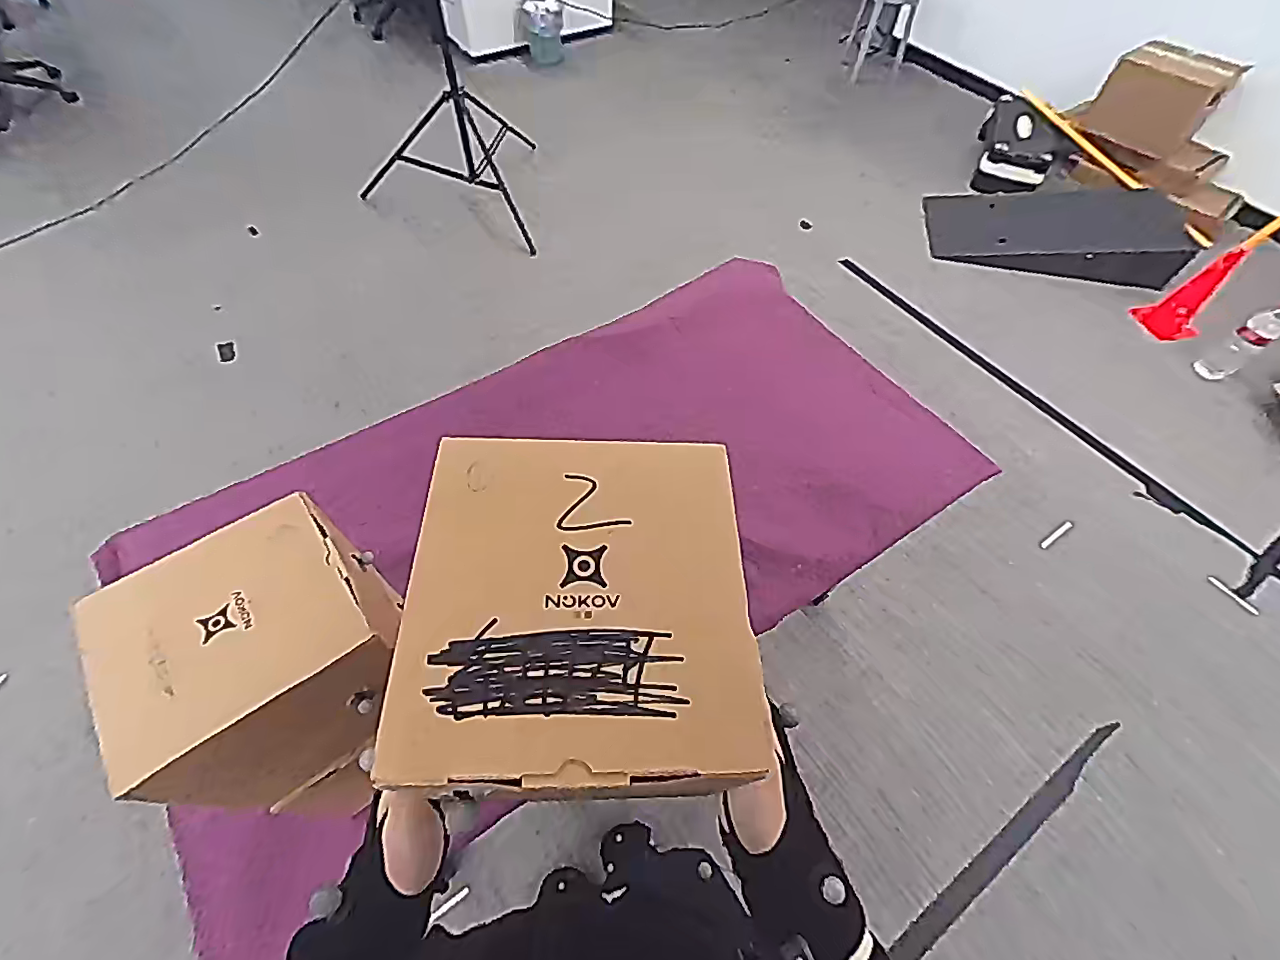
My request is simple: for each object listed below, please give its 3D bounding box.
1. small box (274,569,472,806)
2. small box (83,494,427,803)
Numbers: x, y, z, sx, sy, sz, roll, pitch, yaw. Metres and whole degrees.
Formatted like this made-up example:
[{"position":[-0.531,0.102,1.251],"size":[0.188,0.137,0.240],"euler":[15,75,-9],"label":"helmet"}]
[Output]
[{"position":[-0.317,0.240,0.615],"size":[0.168,0.176,0.179],"euler":[-32,64,-20],"label":"small box"},{"position":[-0.313,0.151,0.479],"size":[0.179,0.176,0.168],"euler":[-34,62,-20],"label":"small box"}]
